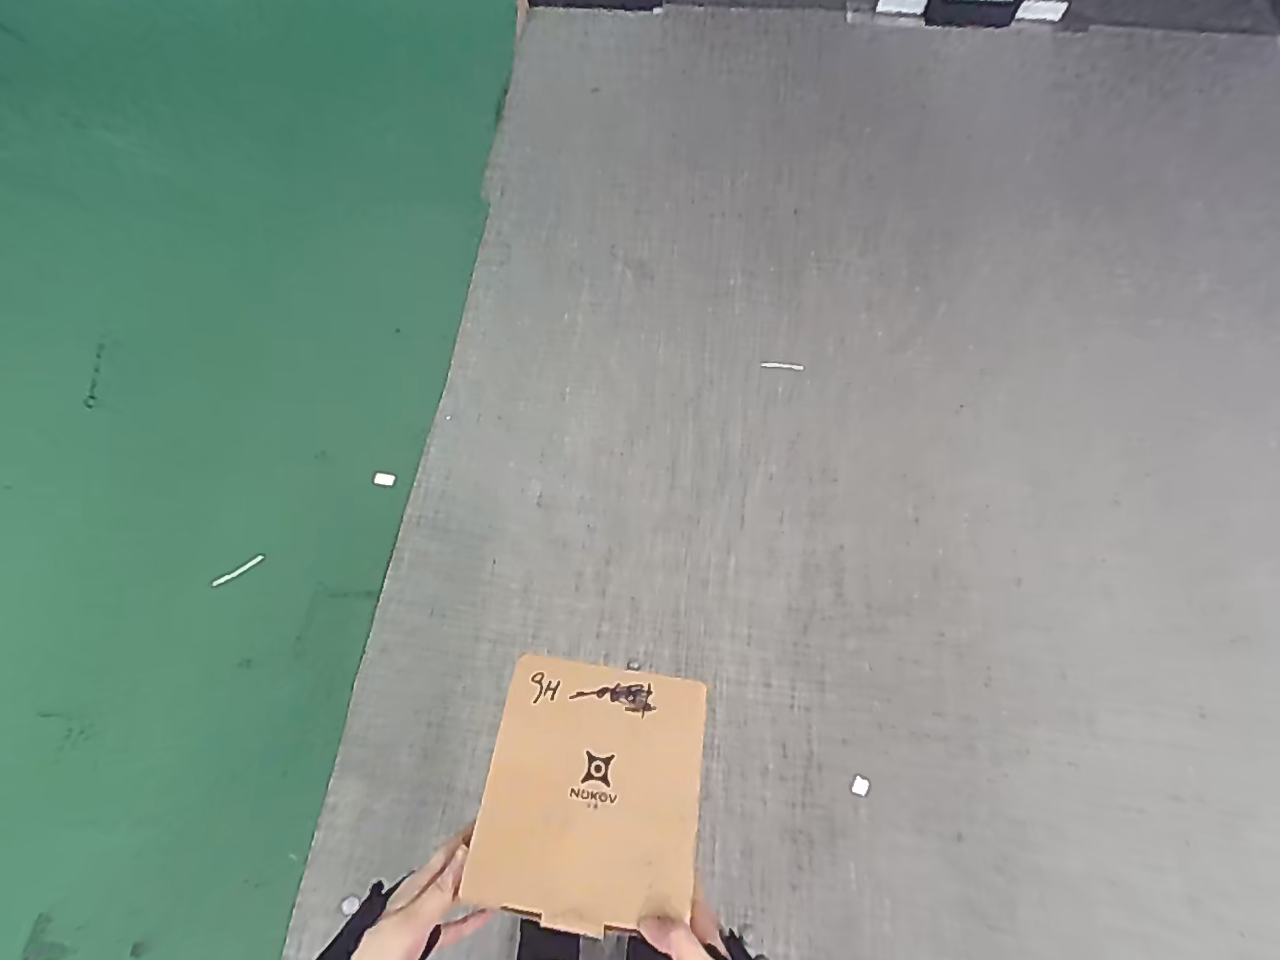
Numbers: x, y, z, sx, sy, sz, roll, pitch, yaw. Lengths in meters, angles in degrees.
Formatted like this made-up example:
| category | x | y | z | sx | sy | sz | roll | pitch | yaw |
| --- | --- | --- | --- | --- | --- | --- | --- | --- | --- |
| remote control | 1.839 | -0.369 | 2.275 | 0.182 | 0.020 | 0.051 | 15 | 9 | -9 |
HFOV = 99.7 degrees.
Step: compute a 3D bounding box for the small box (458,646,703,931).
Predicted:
| category | x | y | z | sx | sy | sz | roll | pitch | yaw |
| --- | --- | --- | --- | --- | --- | --- | --- | --- | --- |
| small box | -0.041 | 0.271 | 0.492 | 0.168 | 0.176 | 0.179 | 8 | 58 | 3 |
